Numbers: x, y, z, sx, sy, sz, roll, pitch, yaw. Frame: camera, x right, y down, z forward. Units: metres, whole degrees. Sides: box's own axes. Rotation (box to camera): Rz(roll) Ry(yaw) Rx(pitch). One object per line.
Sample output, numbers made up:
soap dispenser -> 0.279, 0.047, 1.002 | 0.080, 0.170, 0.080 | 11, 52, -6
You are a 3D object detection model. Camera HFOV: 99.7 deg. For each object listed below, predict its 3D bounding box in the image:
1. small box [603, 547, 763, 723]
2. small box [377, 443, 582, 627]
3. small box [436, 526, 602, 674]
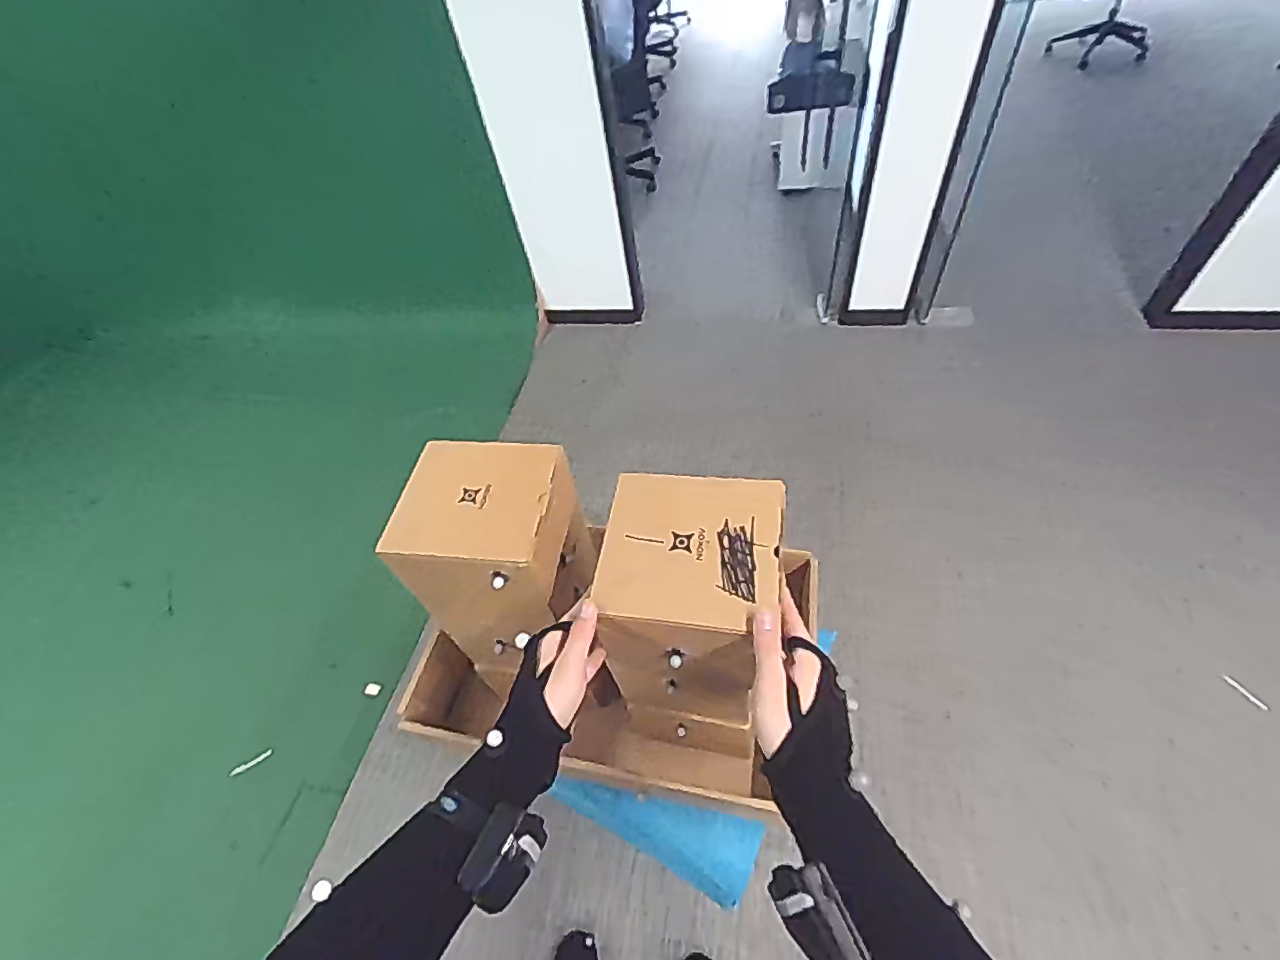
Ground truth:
small box -> 0.069, 0.211, 0.733 | 0.179, 0.176, 0.168 | 5, 52, 15
small box -> -0.183, 0.072, 0.678 | 0.179, 0.176, 0.168 | 3, 51, 7
small box -> -0.164, 0.176, 0.803 | 0.179, 0.176, 0.168 | 3, 52, 9
